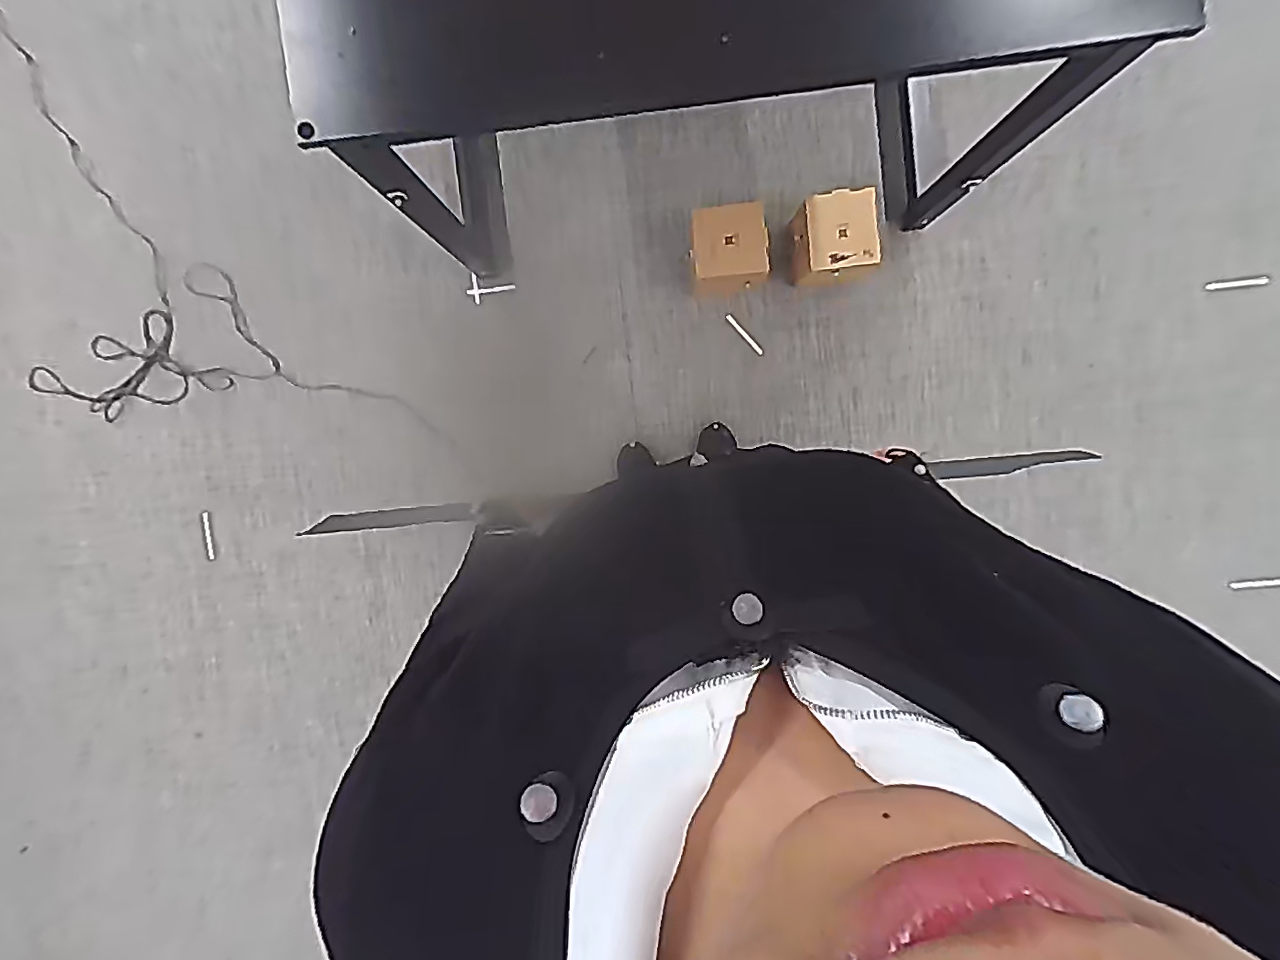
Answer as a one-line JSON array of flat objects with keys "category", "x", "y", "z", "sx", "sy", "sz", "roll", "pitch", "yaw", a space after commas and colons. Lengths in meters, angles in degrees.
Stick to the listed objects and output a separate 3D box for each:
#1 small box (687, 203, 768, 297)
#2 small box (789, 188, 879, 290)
[{"category": "small box", "x": 0.216, "y": -0.575, "z": 1.367, "sx": 0.179, "sy": 0.176, "sz": 0.168, "roll": -6, "pitch": 94, "yaw": 4}, {"category": "small box", "x": 0.477, "y": -0.596, "z": 1.353, "sx": 0.168, "sy": 0.176, "sz": 0.179, "roll": -7, "pitch": 94, "yaw": 3}]
